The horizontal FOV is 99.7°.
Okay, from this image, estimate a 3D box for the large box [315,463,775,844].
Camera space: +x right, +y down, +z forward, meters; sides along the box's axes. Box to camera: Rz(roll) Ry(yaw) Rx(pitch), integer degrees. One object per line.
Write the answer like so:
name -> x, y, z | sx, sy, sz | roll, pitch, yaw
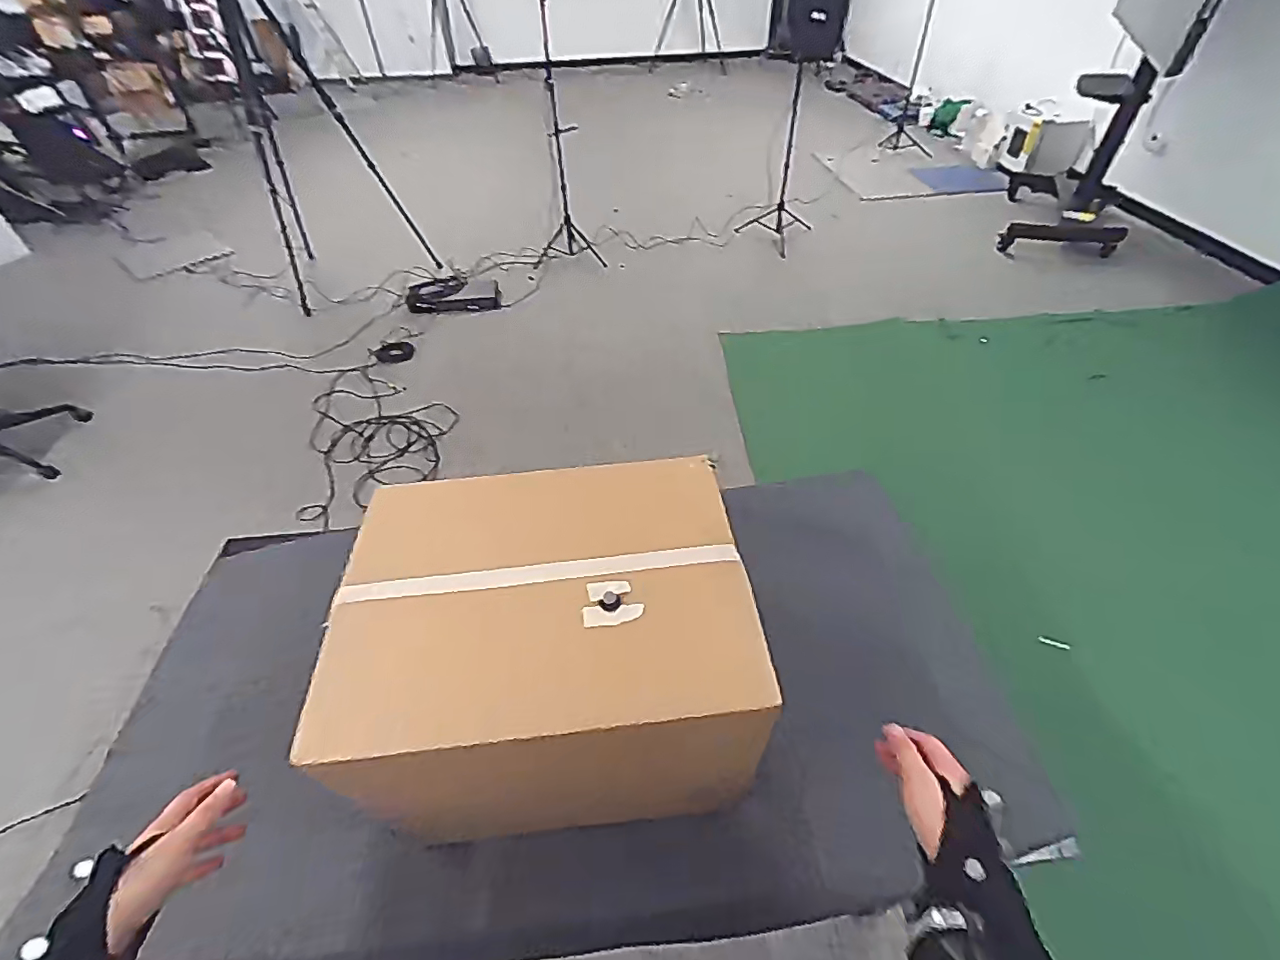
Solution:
large box -> -0.092, 0.211, 0.669 | 0.408, 0.320, 0.320 | -6, 46, -4
